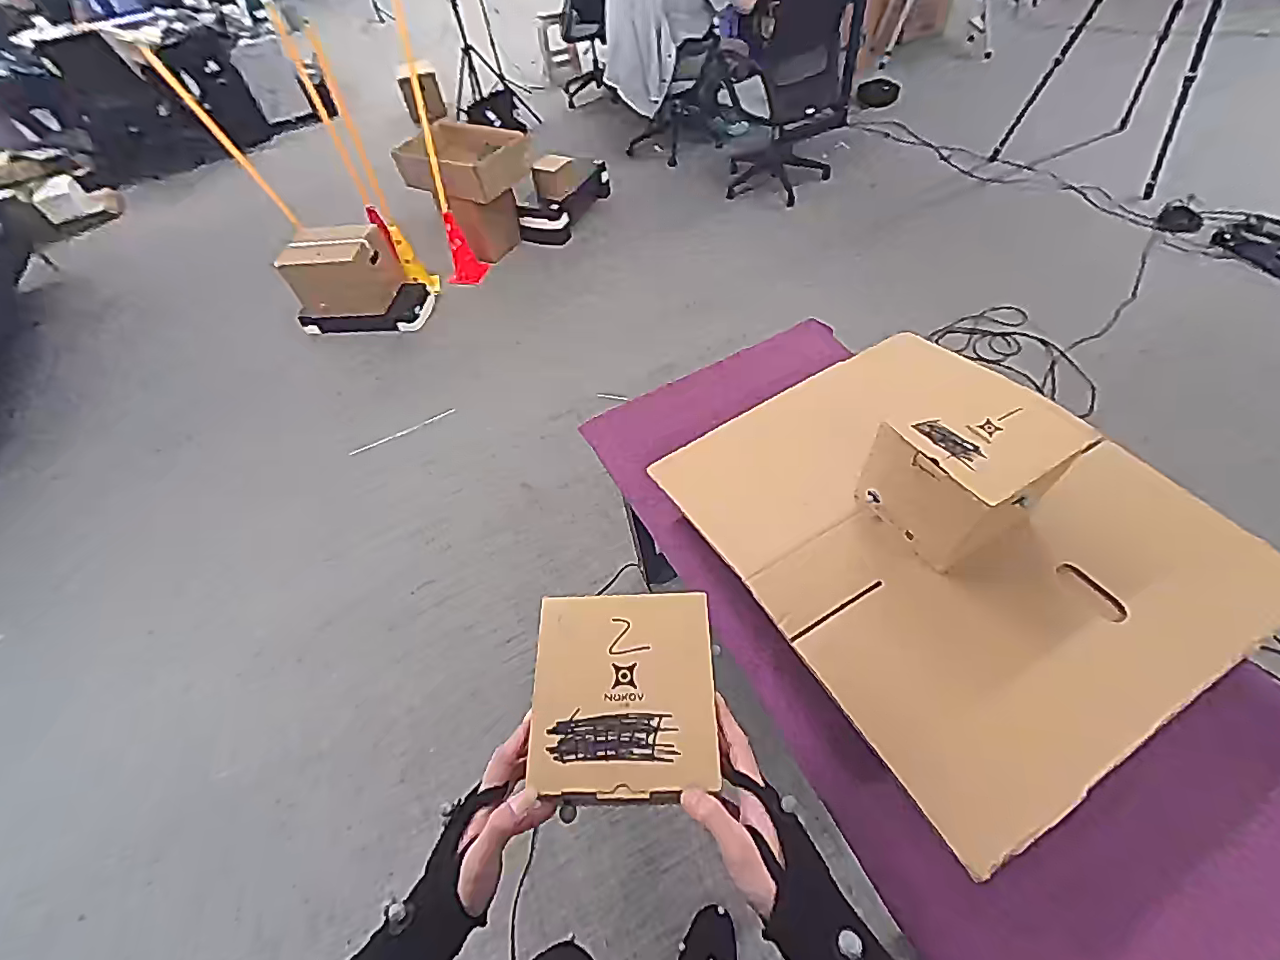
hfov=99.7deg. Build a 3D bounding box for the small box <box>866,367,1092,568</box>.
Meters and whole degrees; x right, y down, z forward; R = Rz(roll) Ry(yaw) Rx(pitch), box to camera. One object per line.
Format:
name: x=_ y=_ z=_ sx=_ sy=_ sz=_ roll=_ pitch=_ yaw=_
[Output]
small box: x=0.430 y=-0.012 z=0.726 sx=0.179 sy=0.176 sz=0.168 roll=-28 pitch=56 yaw=-14
